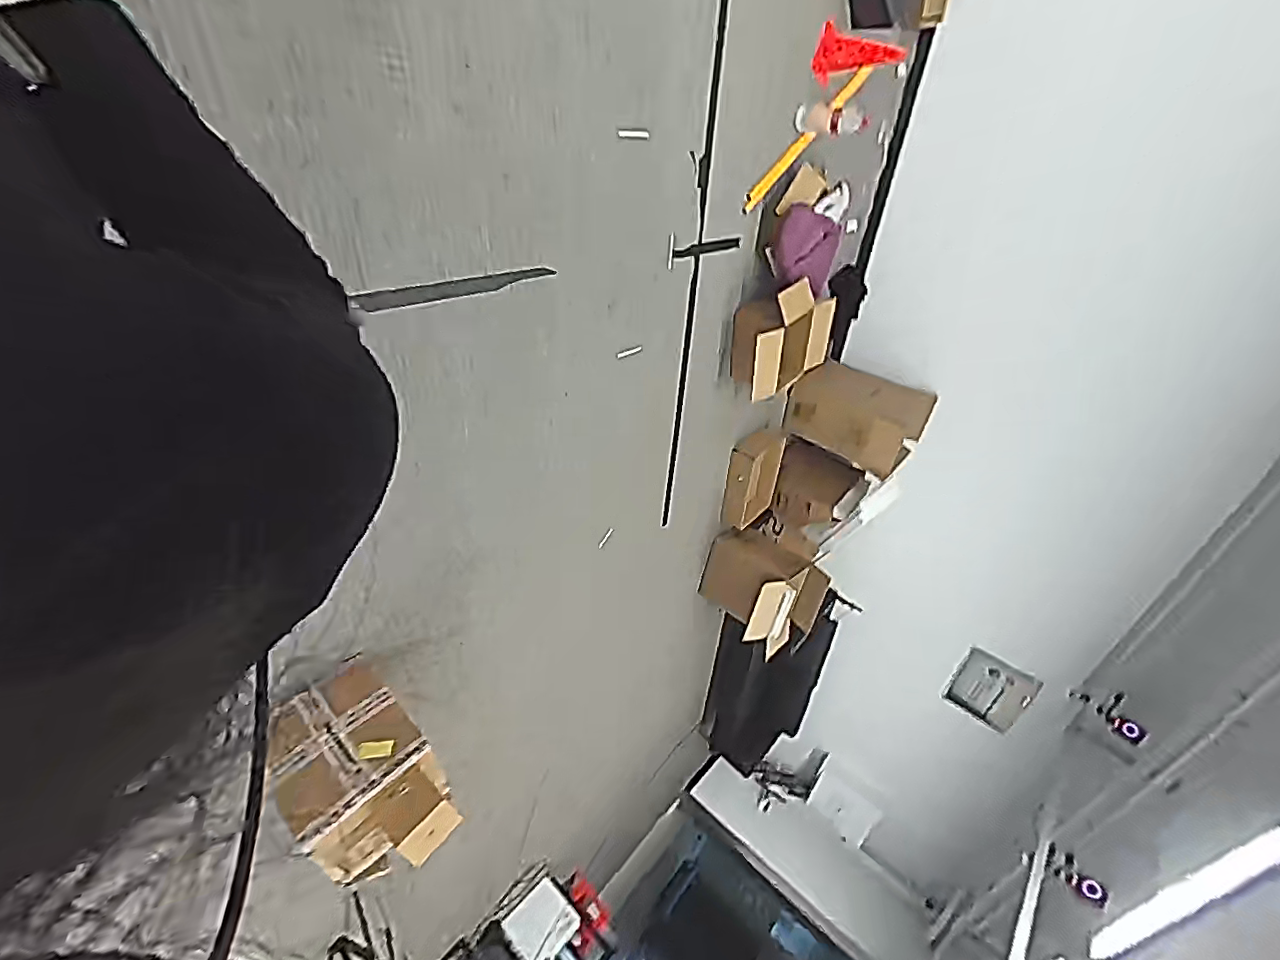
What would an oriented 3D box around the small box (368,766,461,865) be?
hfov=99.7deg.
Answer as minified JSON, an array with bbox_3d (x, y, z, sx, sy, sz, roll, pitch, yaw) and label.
[{"bbox_3d":[-0.677,1.004,1.629,0.168,0.176,0.179,-41,139,-32],"label":"small box"}]
